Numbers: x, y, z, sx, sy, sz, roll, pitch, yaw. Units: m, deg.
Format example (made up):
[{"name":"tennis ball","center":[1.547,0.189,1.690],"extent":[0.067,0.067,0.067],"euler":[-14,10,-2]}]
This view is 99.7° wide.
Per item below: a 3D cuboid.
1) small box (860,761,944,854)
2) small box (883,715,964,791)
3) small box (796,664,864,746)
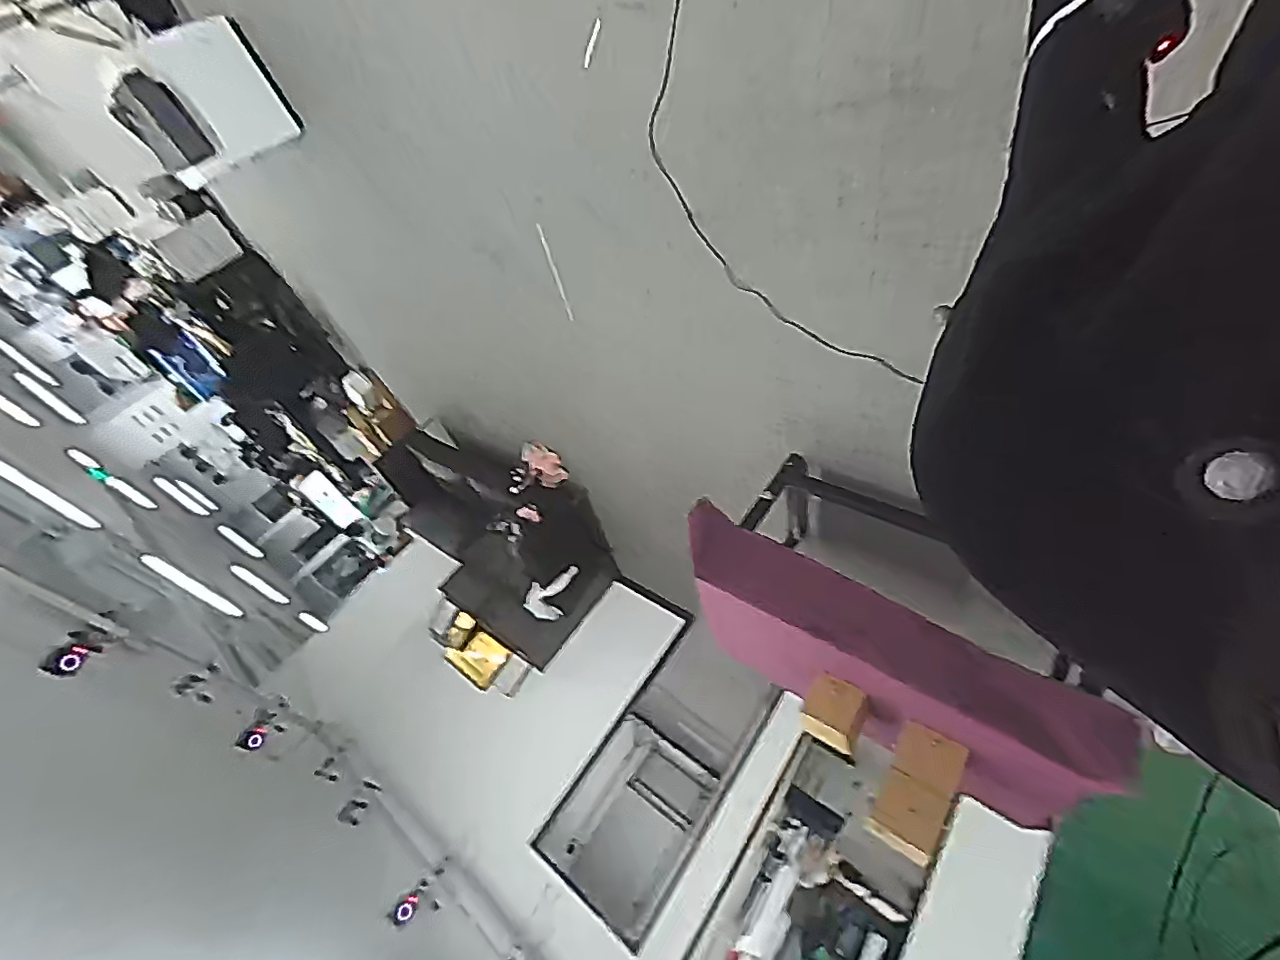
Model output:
[{"name":"small box","center":[0.794,0.985,1.643],"extent":[0.179,0.176,0.168],"euler":[22,148,34]},{"name":"small box","center":[0.893,0.874,1.713],"extent":[0.179,0.176,0.168],"euler":[23,149,35]},{"name":"small box","center":[0.666,0.779,1.883],"extent":[0.168,0.176,0.179],"euler":[18,146,39]}]
